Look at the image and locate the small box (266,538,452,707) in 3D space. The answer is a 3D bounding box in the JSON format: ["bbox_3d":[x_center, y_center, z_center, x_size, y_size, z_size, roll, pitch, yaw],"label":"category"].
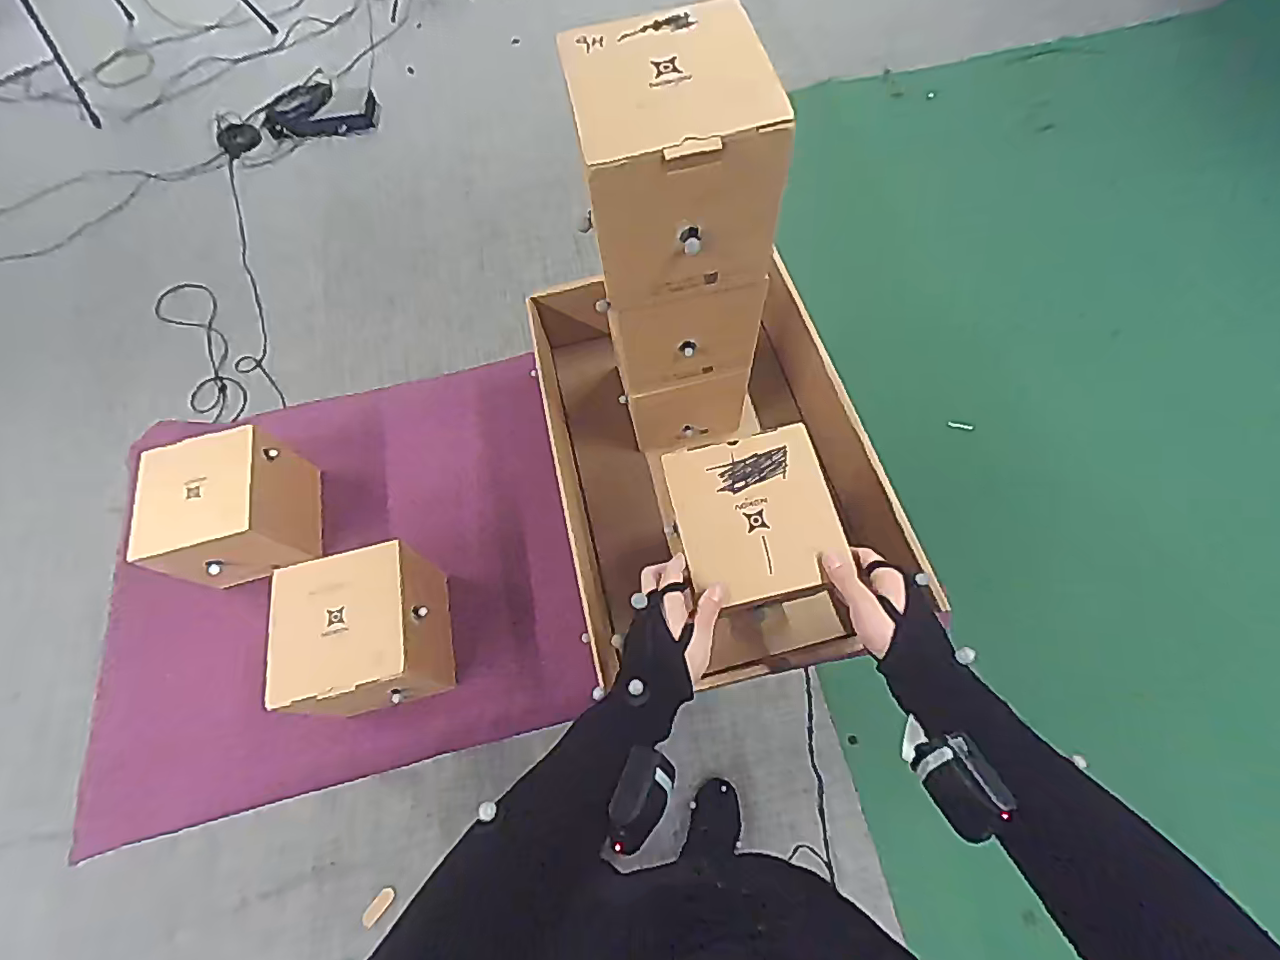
[{"bbox_3d":[-0.368,0.202,0.737,0.168,0.176,0.179,-13,64,-3],"label":"small box"}]

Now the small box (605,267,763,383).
[{"bbox_3d":[0.043,-0.238,0.669,0.168,0.176,0.179,-12,66,-1],"label":"small box"}]

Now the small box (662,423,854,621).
[{"bbox_3d":[0.122,0.059,0.643,0.168,0.176,0.179,-13,71,-2],"label":"small box"}]

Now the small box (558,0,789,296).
[{"bbox_3d":[0.028,-0.300,0.518,0.168,0.176,0.179,-12,68,-1],"label":"small box"}]

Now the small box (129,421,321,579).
[{"bbox_3d":[-0.618,0.041,0.830,0.168,0.176,0.179,-15,65,-3],"label":"small box"}]
